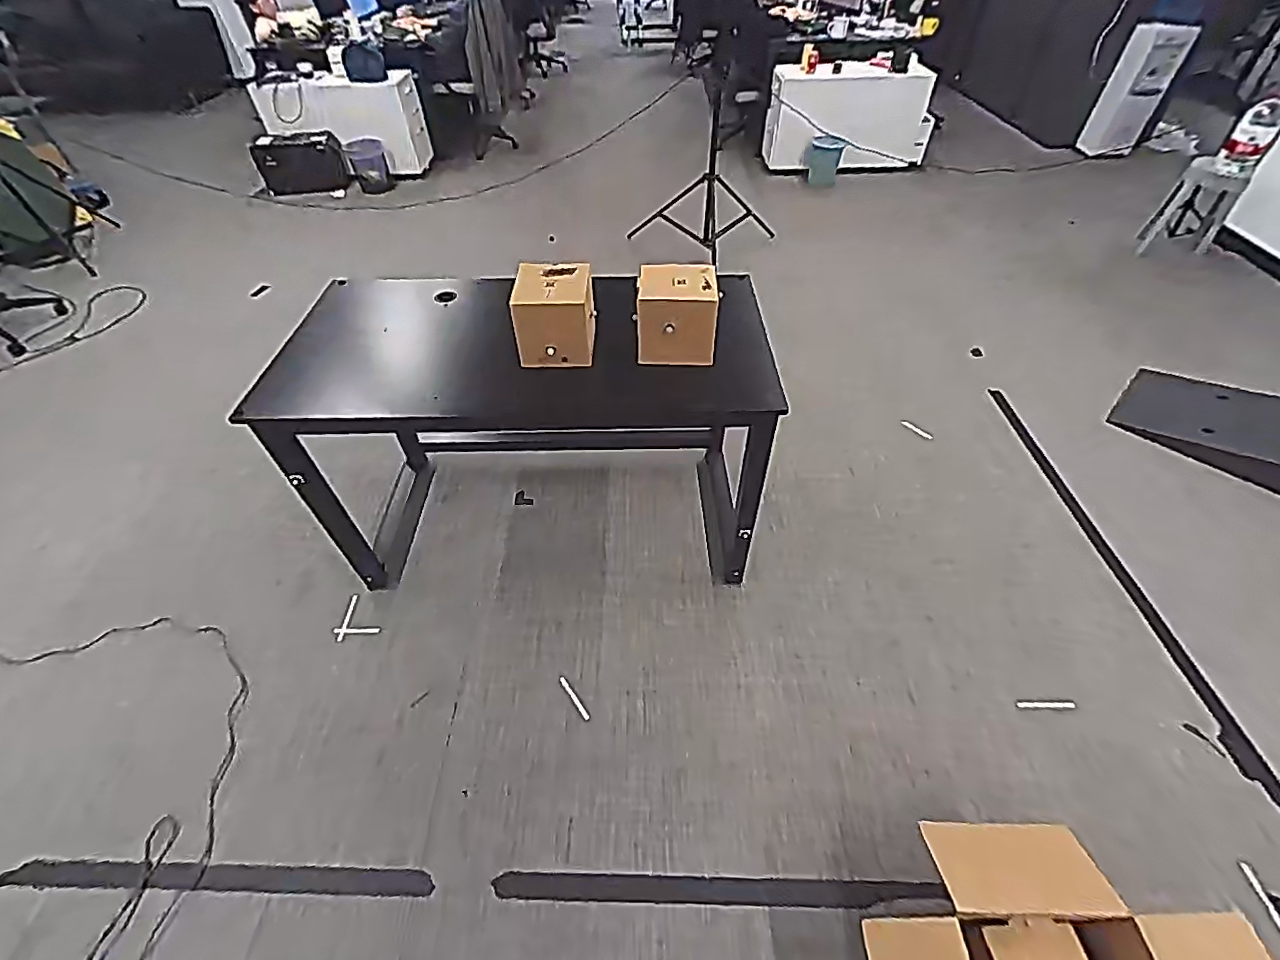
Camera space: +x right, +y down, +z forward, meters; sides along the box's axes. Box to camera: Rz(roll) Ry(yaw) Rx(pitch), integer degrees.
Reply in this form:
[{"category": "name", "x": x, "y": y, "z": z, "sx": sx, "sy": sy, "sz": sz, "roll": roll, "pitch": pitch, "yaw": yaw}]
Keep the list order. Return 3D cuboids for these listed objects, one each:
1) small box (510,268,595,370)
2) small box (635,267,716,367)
[{"category": "small box", "x": -0.197, "y": -0.379, "z": 1.271, "sx": 0.168, "sy": 0.176, "sz": 0.179, "roll": -1, "pitch": 48, "yaw": 1}, {"category": "small box", "x": 0.084, "y": -0.380, "z": 1.266, "sx": 0.179, "sy": 0.176, "sz": 0.168, "roll": 1, "pitch": 47, "yaw": 3}]
